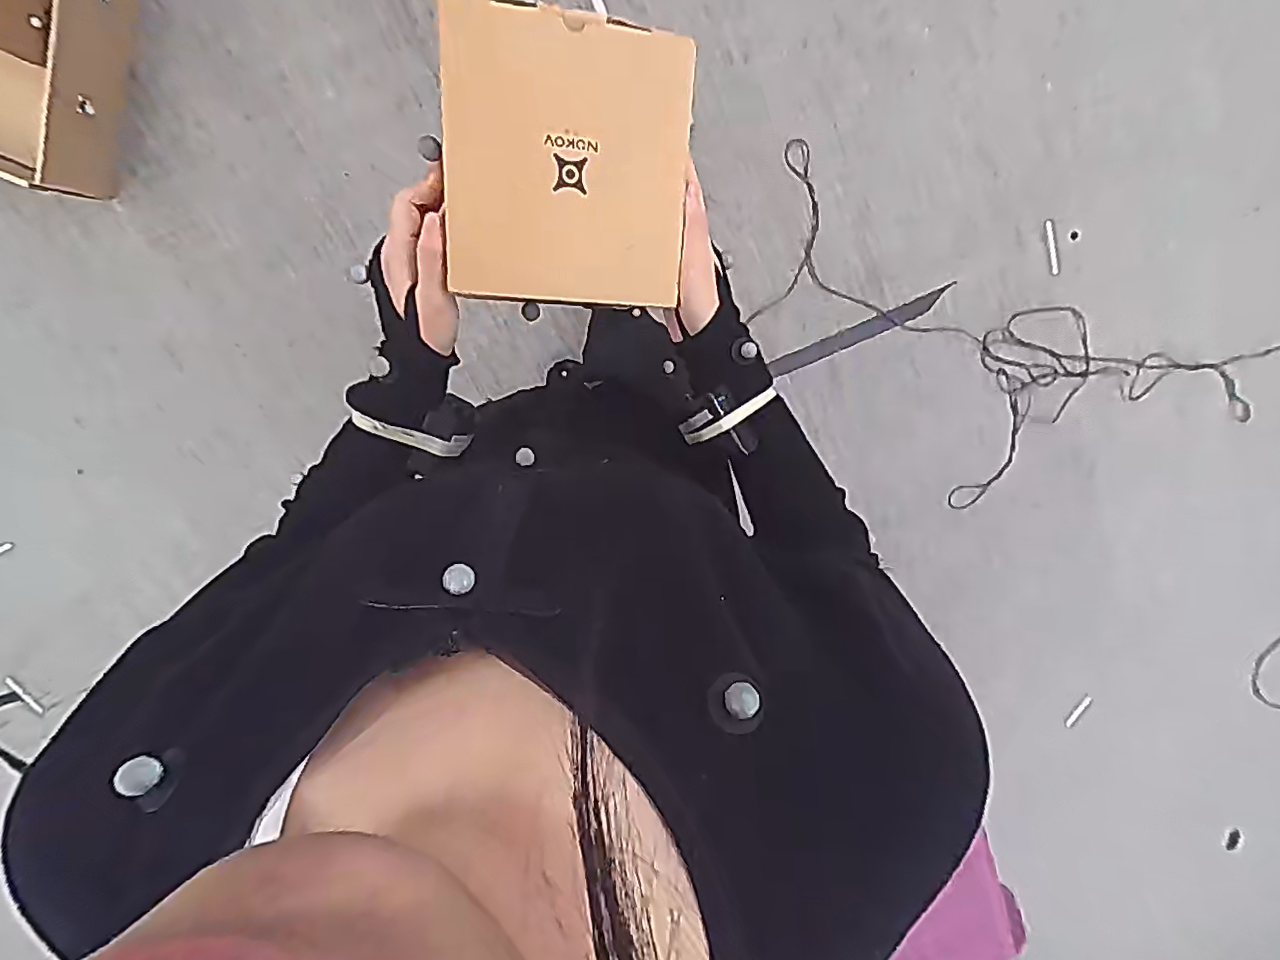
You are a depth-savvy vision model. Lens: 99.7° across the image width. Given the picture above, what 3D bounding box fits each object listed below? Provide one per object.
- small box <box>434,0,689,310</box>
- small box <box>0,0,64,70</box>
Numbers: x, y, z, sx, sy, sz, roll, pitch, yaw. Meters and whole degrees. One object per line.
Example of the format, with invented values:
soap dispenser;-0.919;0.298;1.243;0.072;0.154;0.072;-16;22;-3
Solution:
small box;-0.070;-0.235;0.443;0.168;0.176;0.179;-1;106;-15
small box;-1.235;-0.900;0.988;0.179;0.176;0.168;20;105;-12
